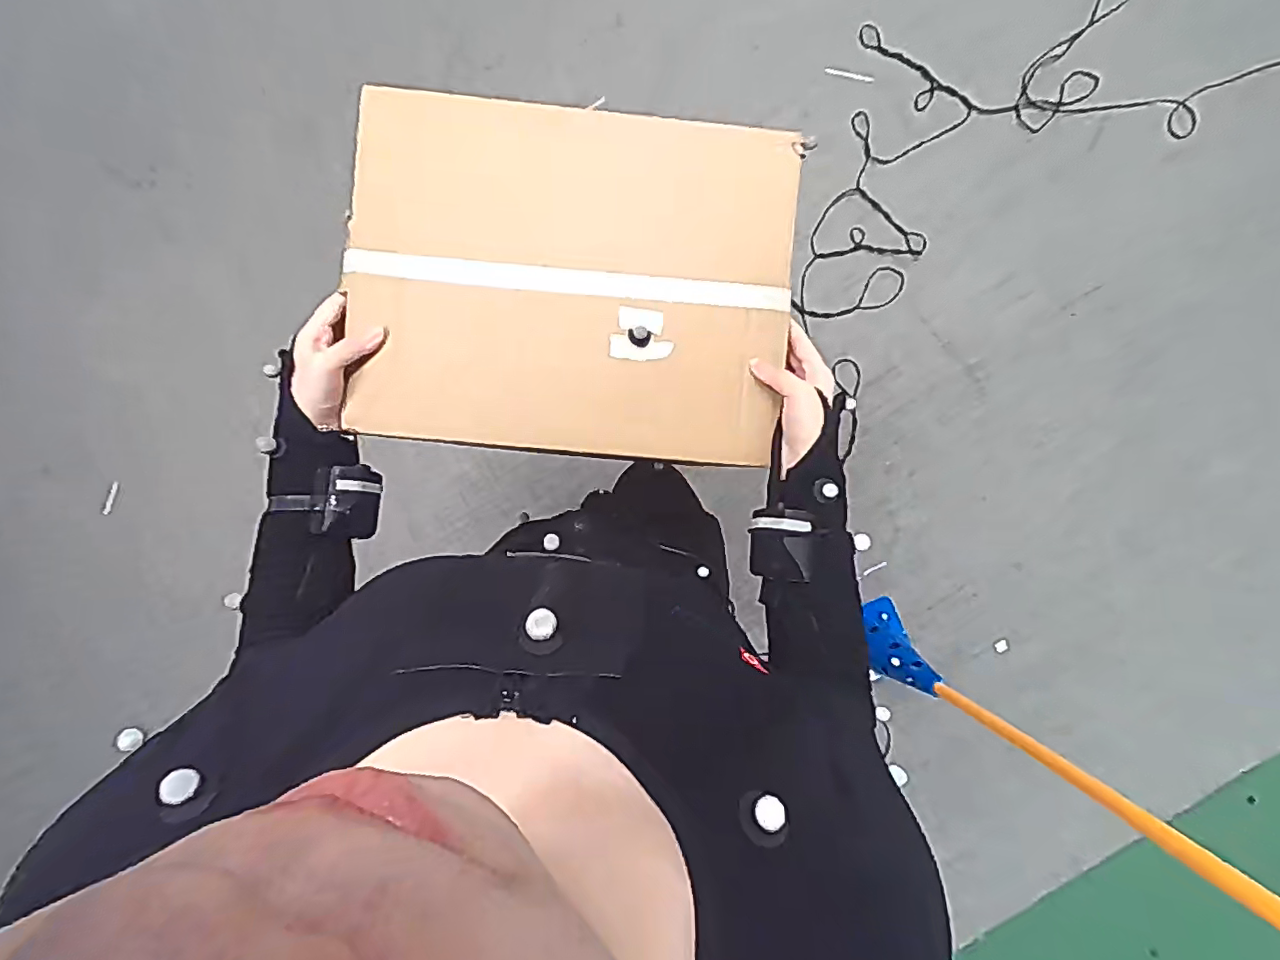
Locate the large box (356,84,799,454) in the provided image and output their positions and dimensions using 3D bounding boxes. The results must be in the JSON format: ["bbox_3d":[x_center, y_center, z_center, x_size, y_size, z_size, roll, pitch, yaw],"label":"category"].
[{"bbox_3d":[-0.066,-0.200,0.655,0.408,0.320,0.320,5,92,-3],"label":"large box"}]

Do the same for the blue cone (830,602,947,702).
[{"bbox_3d":[0.633,0.445,1.329,0.193,0.380,0.192,-22,89,0],"label":"blue cone"}]
